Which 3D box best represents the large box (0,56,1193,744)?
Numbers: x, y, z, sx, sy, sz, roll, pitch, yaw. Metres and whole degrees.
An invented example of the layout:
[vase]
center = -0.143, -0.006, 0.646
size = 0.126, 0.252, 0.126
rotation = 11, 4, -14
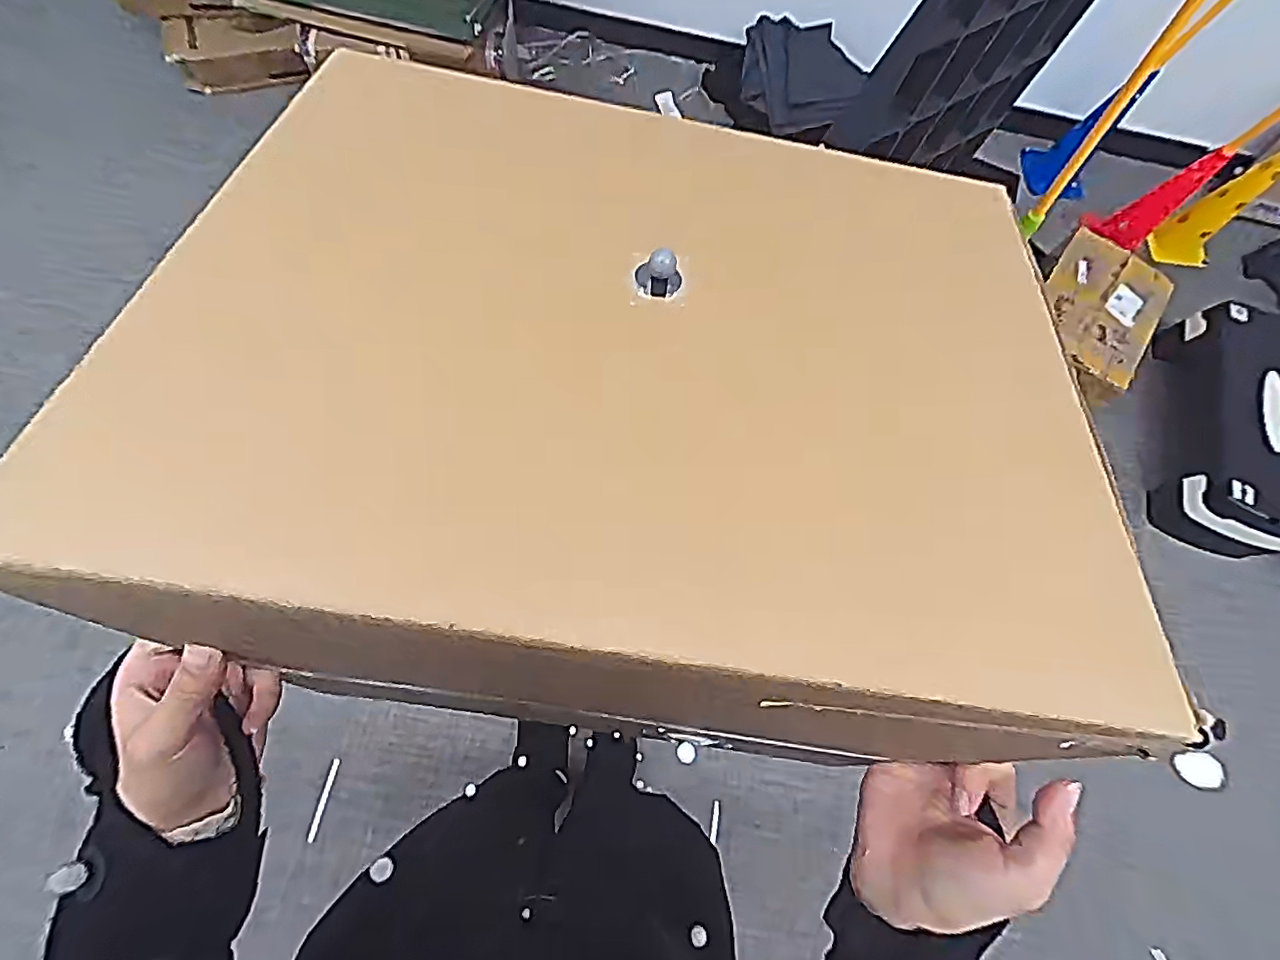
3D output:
[large box]
center = -0.011, -0.019, 0.374
size = 0.408, 0.320, 0.320
rotation = 9, 63, -3
